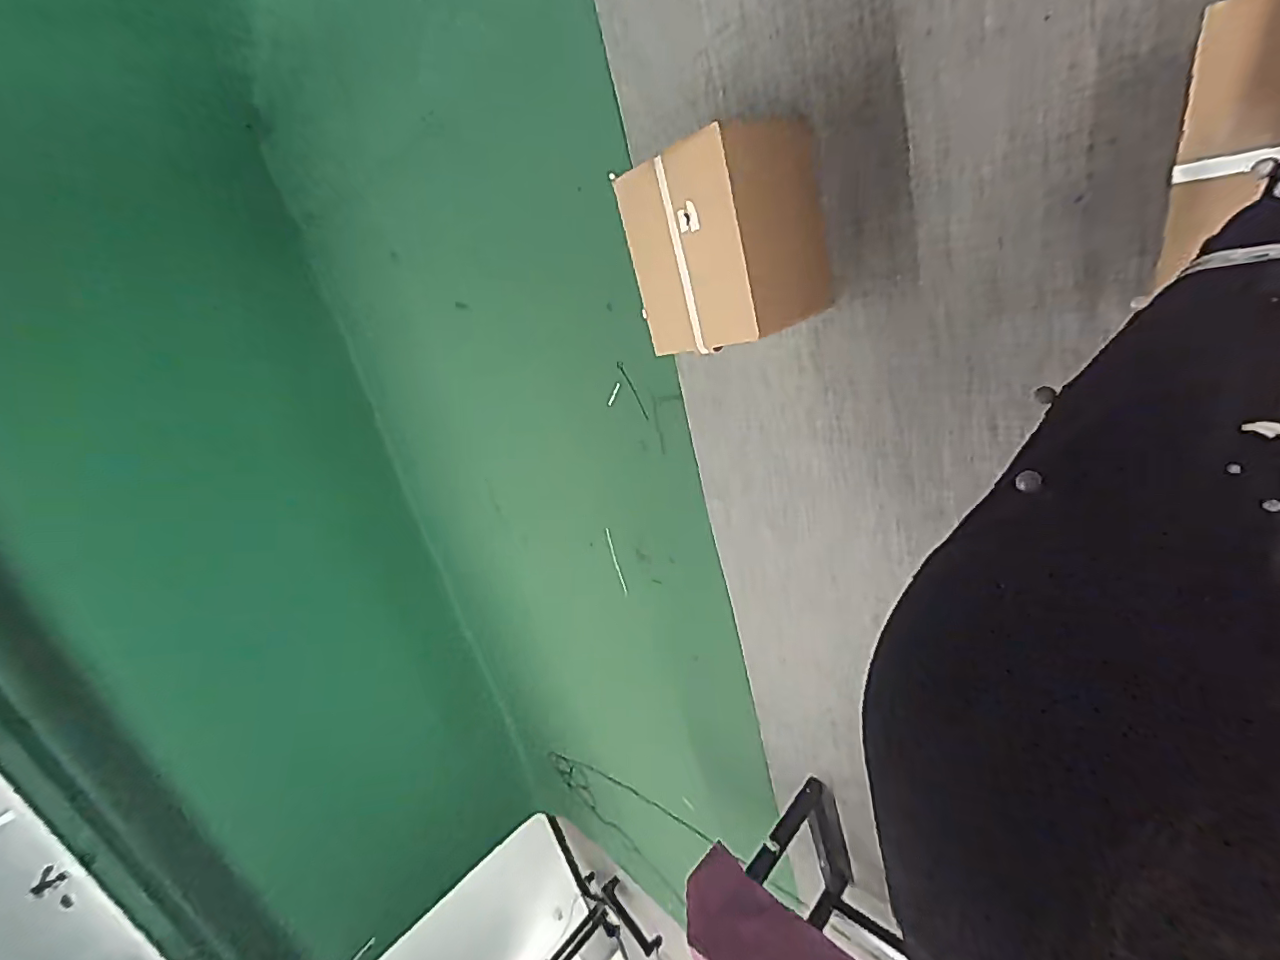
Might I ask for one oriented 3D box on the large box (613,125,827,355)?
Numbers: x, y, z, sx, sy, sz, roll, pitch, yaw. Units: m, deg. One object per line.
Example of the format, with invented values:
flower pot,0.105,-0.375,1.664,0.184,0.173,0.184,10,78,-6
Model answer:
large box,0.194,-0.536,1.247,0.320,0.320,0.408,6,117,48
